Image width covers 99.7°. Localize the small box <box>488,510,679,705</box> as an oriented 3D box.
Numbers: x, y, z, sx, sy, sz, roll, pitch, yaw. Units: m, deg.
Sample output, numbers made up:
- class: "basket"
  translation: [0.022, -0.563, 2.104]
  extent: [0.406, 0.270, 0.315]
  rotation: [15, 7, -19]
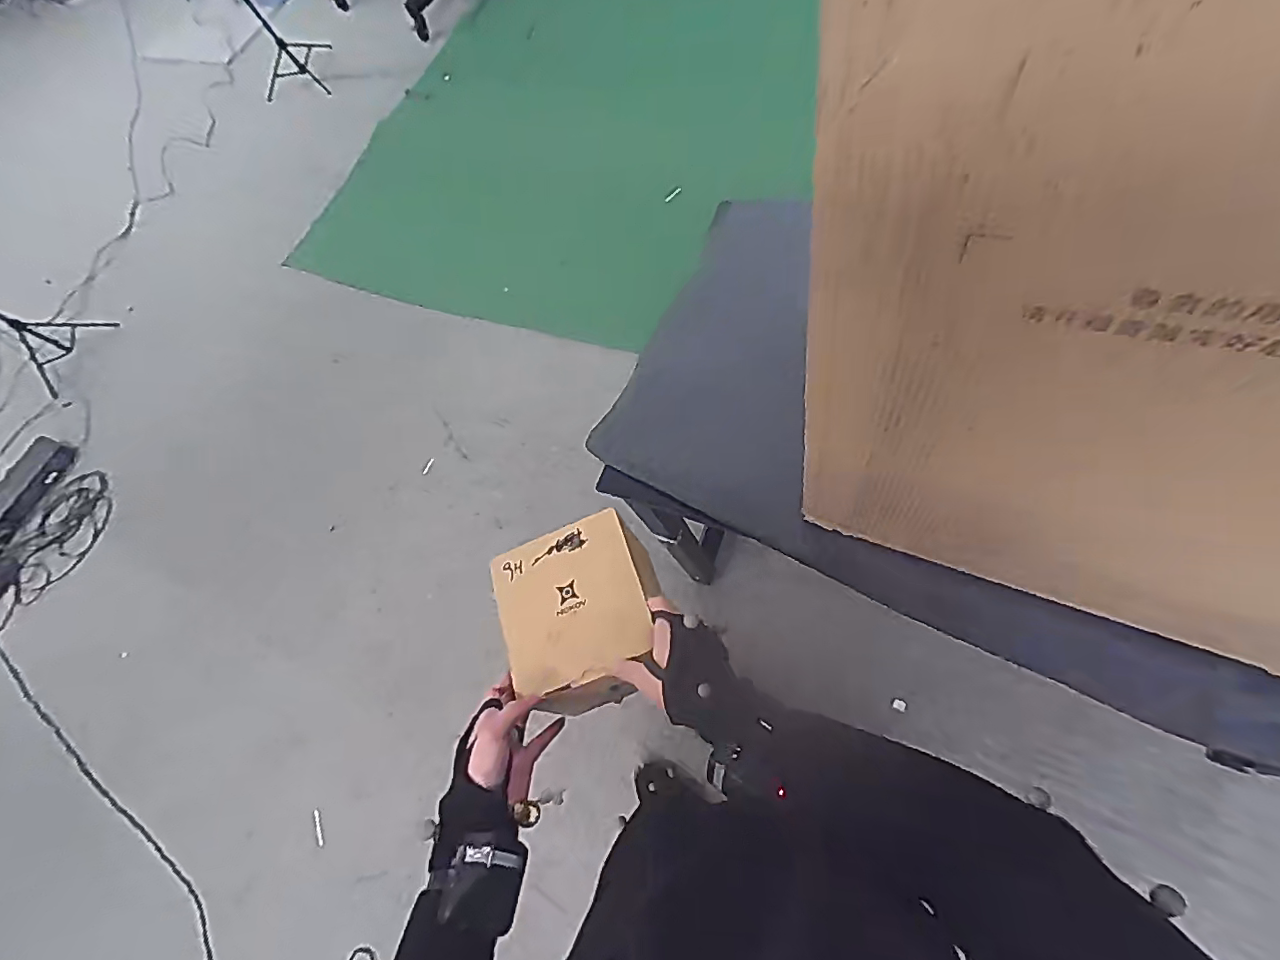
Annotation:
- class: "small box"
  translation: [-0.063, 0.168, 0.679]
  extent: [0.168, 0.176, 0.179]
  rotation: [-23, 61, 5]
